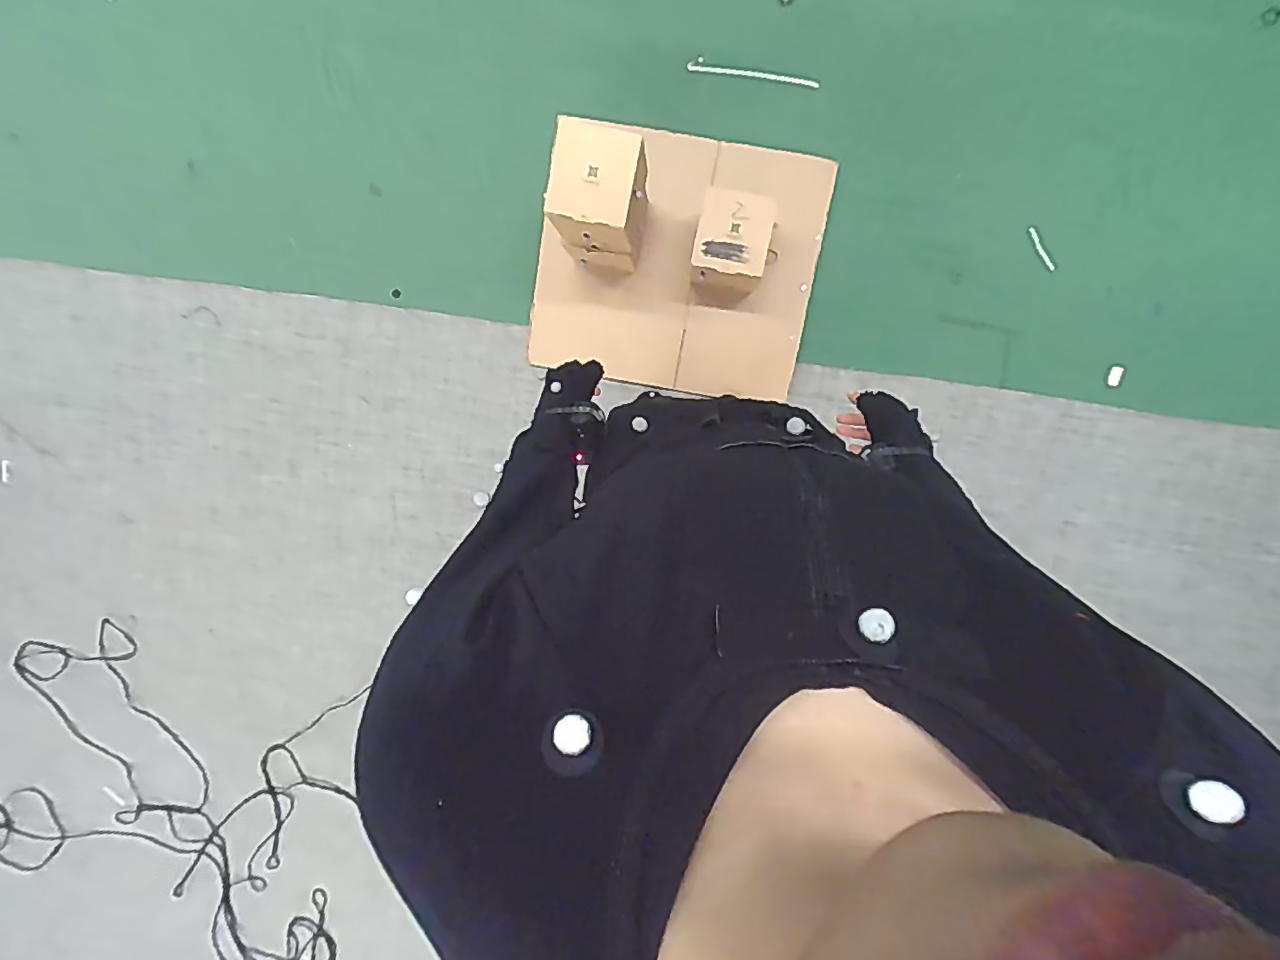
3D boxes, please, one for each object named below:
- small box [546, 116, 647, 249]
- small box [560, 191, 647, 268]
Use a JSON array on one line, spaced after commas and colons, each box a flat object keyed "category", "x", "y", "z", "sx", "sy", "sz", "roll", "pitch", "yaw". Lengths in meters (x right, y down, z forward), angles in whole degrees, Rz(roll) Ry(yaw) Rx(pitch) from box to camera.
[{"category": "small box", "x": -0.083, "y": -0.603, "z": 1.117, "sx": 0.168, "sy": 0.176, "sz": 0.179, "roll": 13, "pitch": 100, "yaw": 2}, {"category": "small box", "x": -0.079, "y": -0.618, "z": 1.279, "sx": 0.168, "sy": 0.176, "sz": 0.179, "roll": 12, "pitch": 99, "yaw": 3}]
